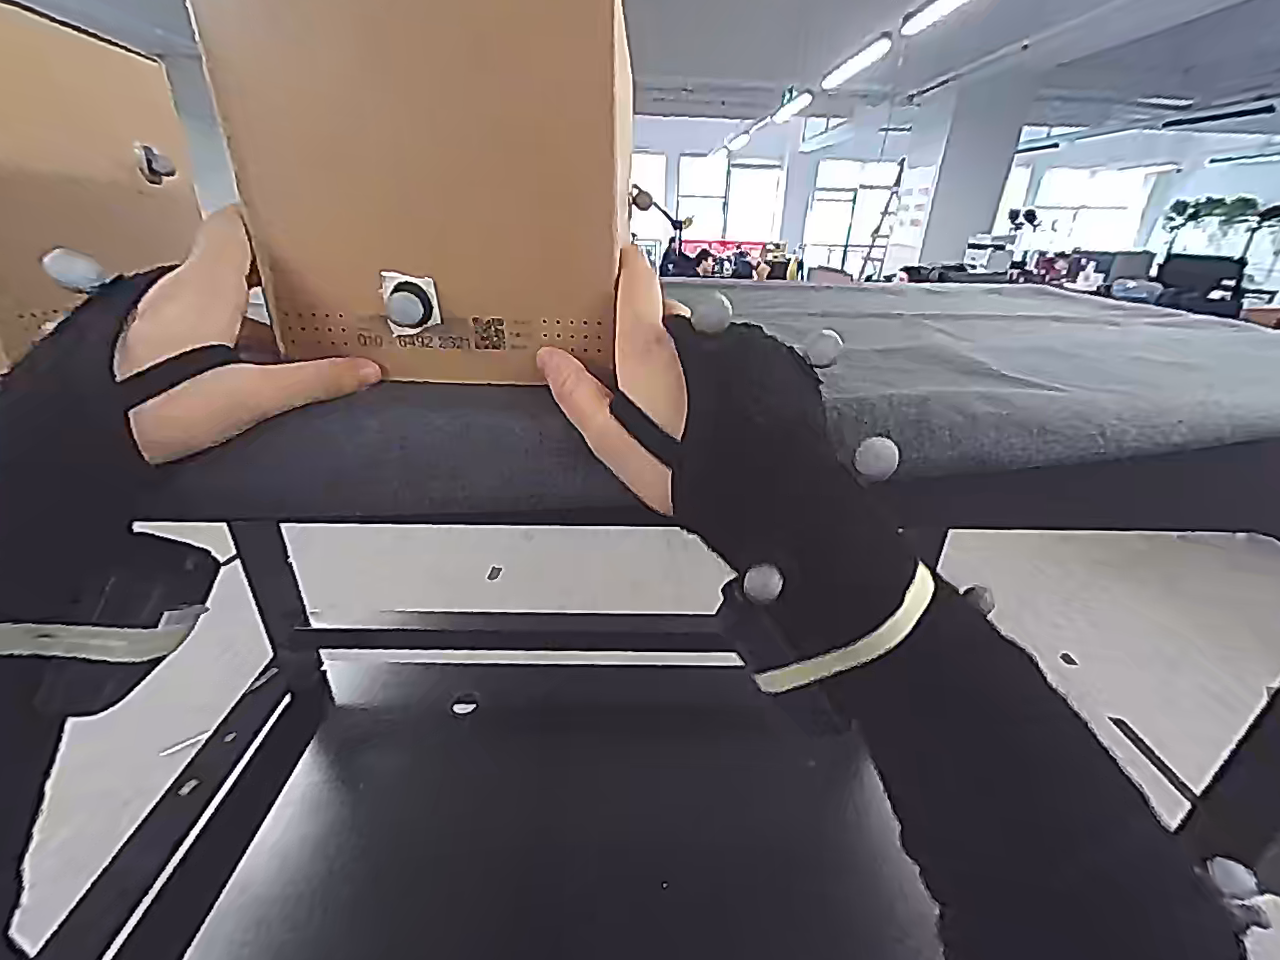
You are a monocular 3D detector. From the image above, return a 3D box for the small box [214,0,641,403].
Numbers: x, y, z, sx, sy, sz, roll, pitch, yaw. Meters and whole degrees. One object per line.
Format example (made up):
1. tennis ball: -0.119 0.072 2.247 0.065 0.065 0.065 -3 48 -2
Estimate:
1. small box: -0.084 -0.149 0.305 0.168 0.176 0.179 0 25 0
